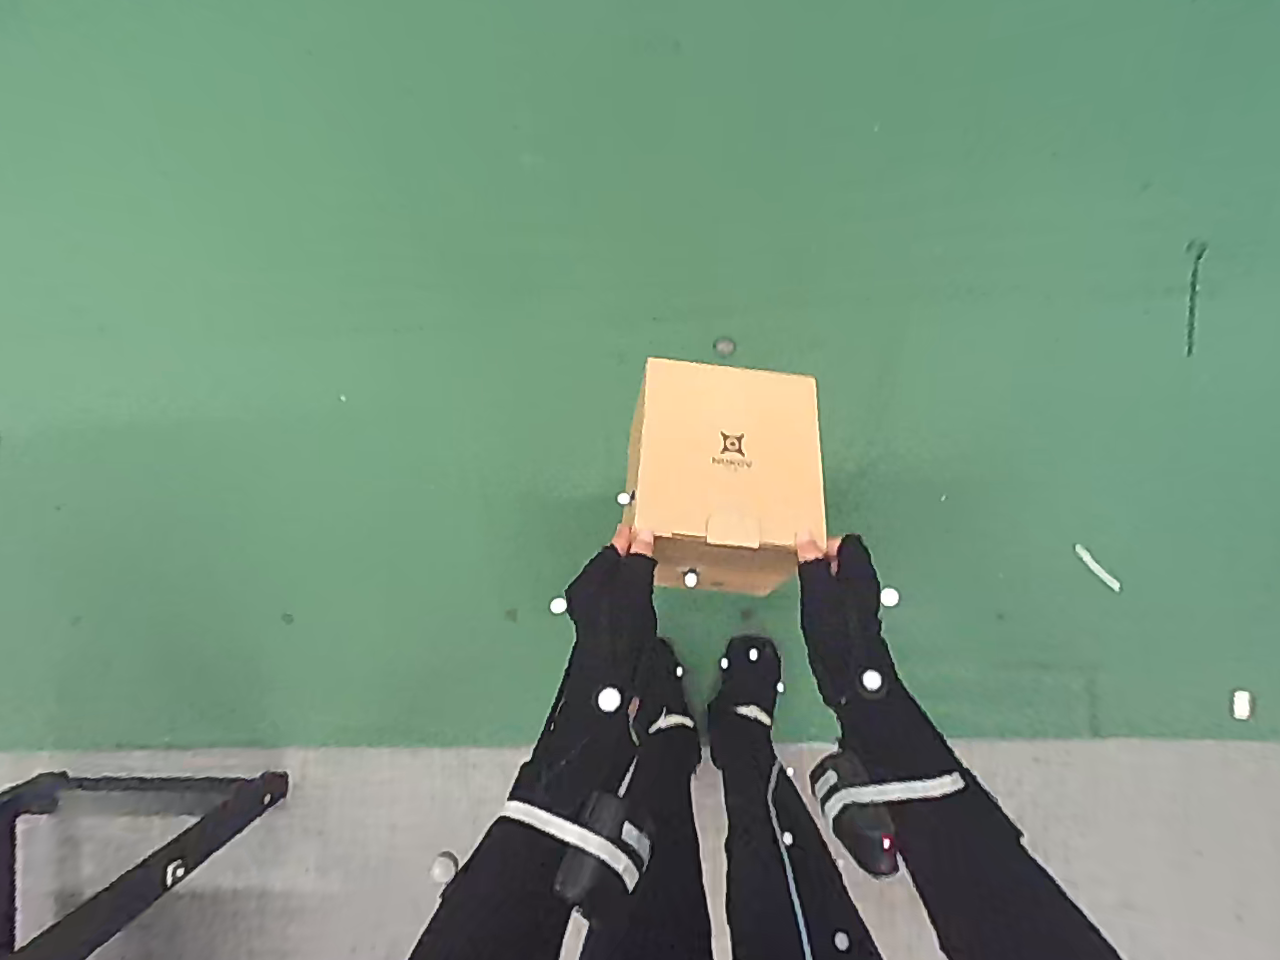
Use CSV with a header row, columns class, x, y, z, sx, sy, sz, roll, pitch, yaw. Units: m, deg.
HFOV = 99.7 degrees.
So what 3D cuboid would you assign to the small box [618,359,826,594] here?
class,x,y,z,sx,sy,sz,roll,pitch,yaw
small box,0.071,0.007,0.552,0.168,0.176,0.179,7,66,-5
